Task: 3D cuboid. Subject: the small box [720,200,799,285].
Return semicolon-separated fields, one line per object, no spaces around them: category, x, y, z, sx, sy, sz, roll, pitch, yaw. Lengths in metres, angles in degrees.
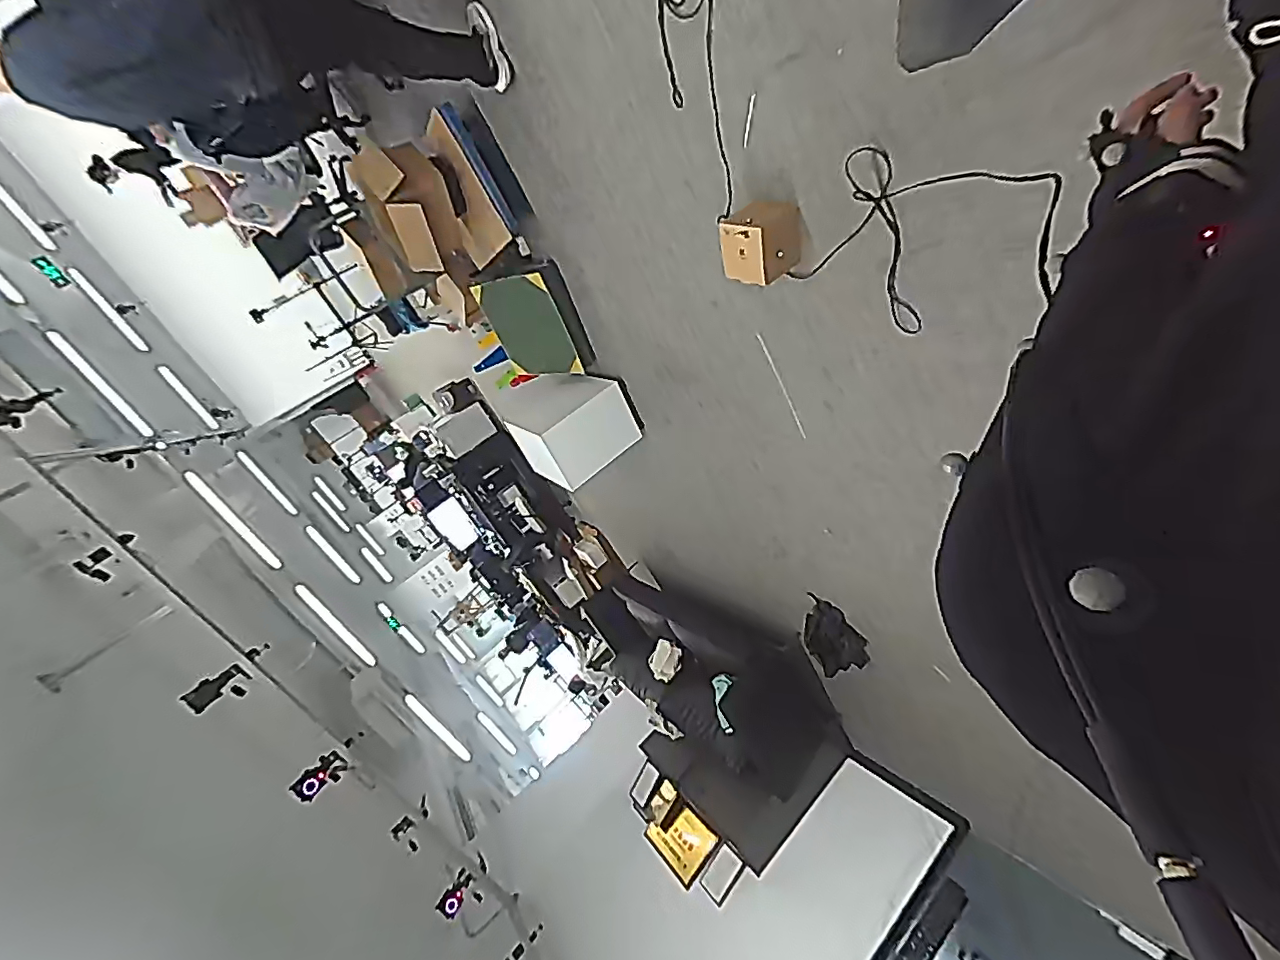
small box;0.368;-0.724;1.644;0.168;0.176;0.179;33;152;41
